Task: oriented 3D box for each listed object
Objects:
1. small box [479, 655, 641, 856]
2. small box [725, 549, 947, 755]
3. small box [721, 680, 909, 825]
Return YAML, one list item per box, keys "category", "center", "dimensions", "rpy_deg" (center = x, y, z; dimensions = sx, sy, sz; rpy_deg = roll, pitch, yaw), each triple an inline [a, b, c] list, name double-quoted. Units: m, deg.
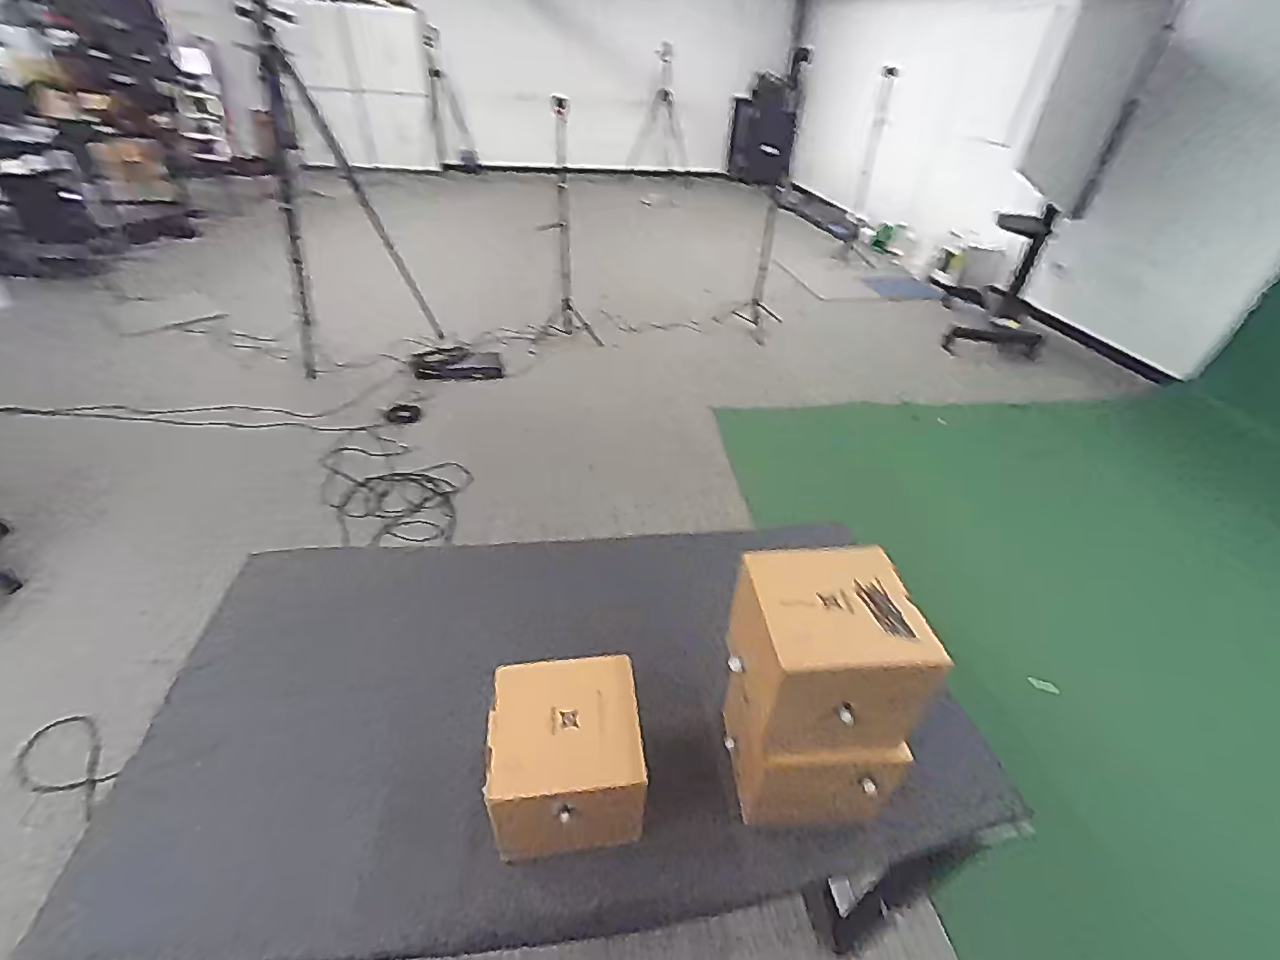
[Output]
- category: "small box"
  center: [-0.098, 0.347, 0.685]
  dimensions: [0.179, 0.176, 0.168]
  rpy_deg: [-2, 38, -9]
- category: "small box"
  center: [0.208, 0.198, 0.631]
  dimensions: [0.179, 0.176, 0.168]
  rpy_deg: [-1, 36, -4]
- category: "small box"
  center: [0.215, 0.336, 0.721]
  dimensions: [0.179, 0.176, 0.168]
  rpy_deg: [1, 36, -4]
